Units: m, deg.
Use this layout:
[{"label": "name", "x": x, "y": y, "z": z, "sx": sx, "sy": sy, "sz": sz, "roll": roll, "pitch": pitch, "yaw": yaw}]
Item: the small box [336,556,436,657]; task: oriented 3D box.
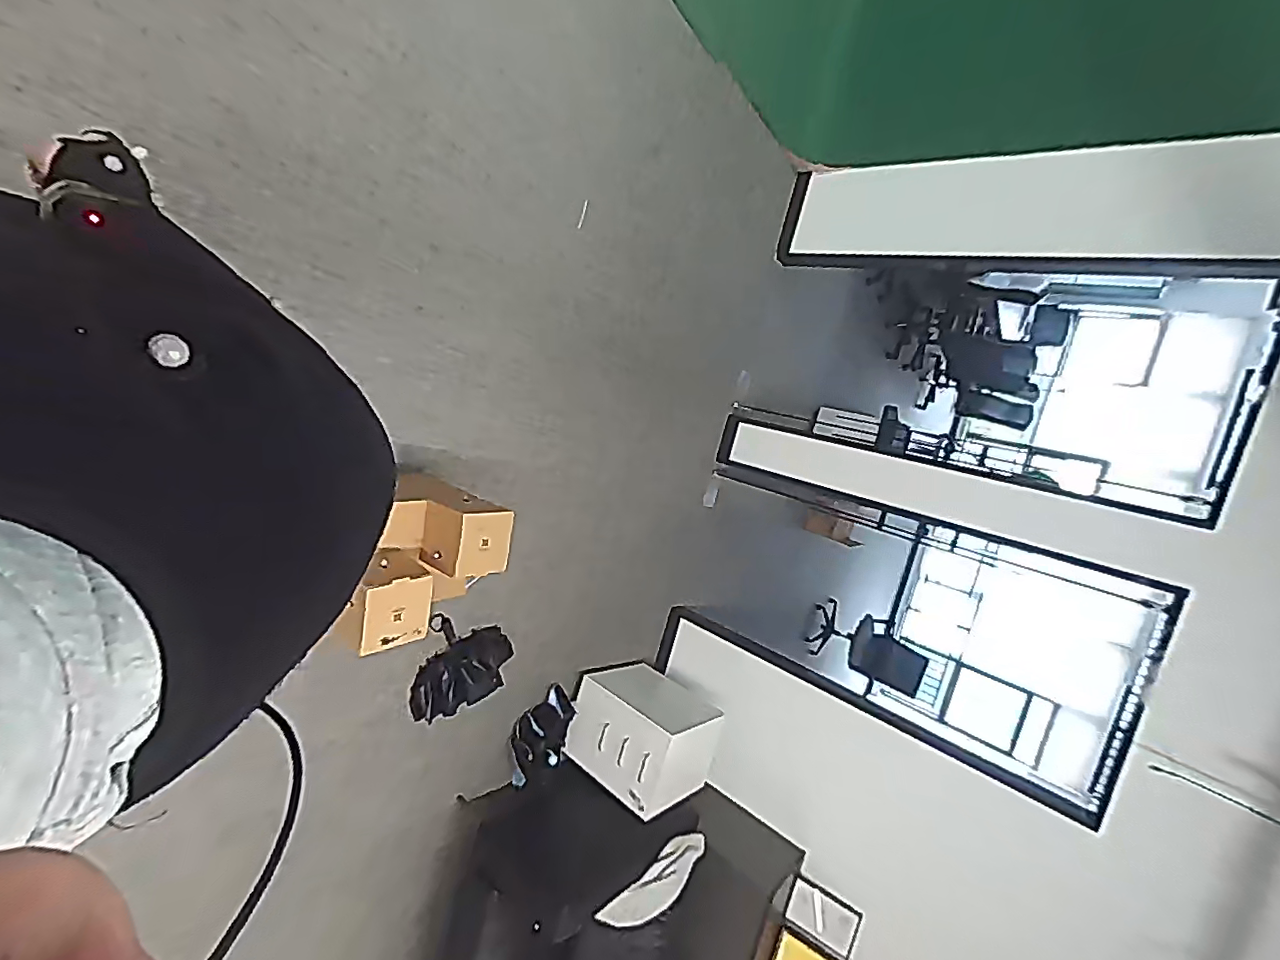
[{"label": "small box", "x": -0.627, "y": 0.298, "z": 1.328, "sx": 0.168, "sy": 0.176, "sz": 0.179, "roll": -5, "pitch": 110, "yaw": -51}]

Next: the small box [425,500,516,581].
[{"label": "small box", "x": -0.466, "y": 0.158, "z": 1.476, "sx": 0.168, "sy": 0.176, "sz": 0.179, "roll": -1, "pitch": 102, "yaw": -53}]
